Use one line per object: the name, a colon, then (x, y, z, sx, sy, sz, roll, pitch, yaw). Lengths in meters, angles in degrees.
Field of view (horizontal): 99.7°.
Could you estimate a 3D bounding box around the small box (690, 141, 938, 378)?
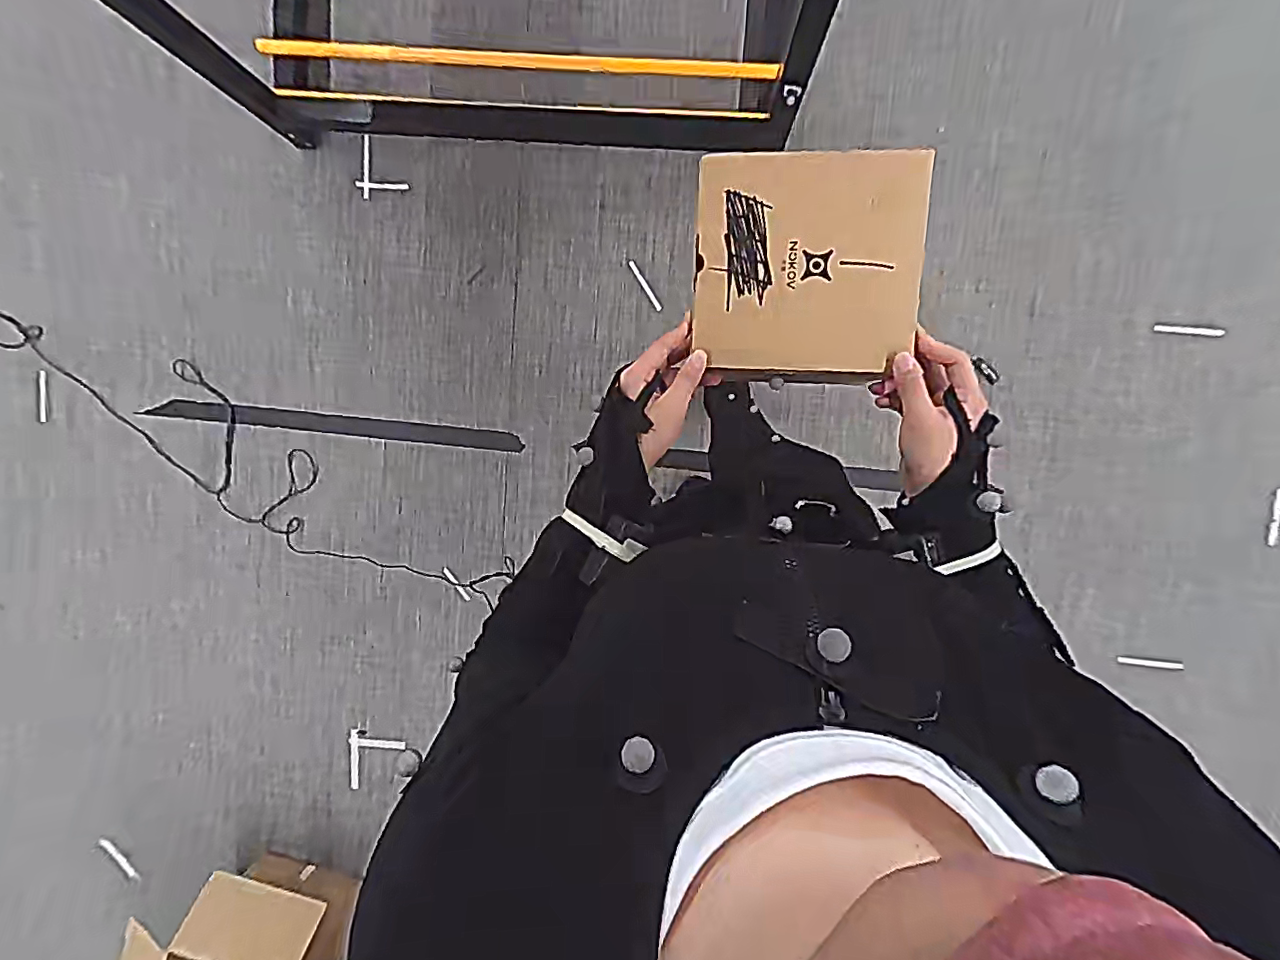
small box: (0.143, -0.183, 0.498, 0.179, 0.176, 0.168, 3, 98, 8)
